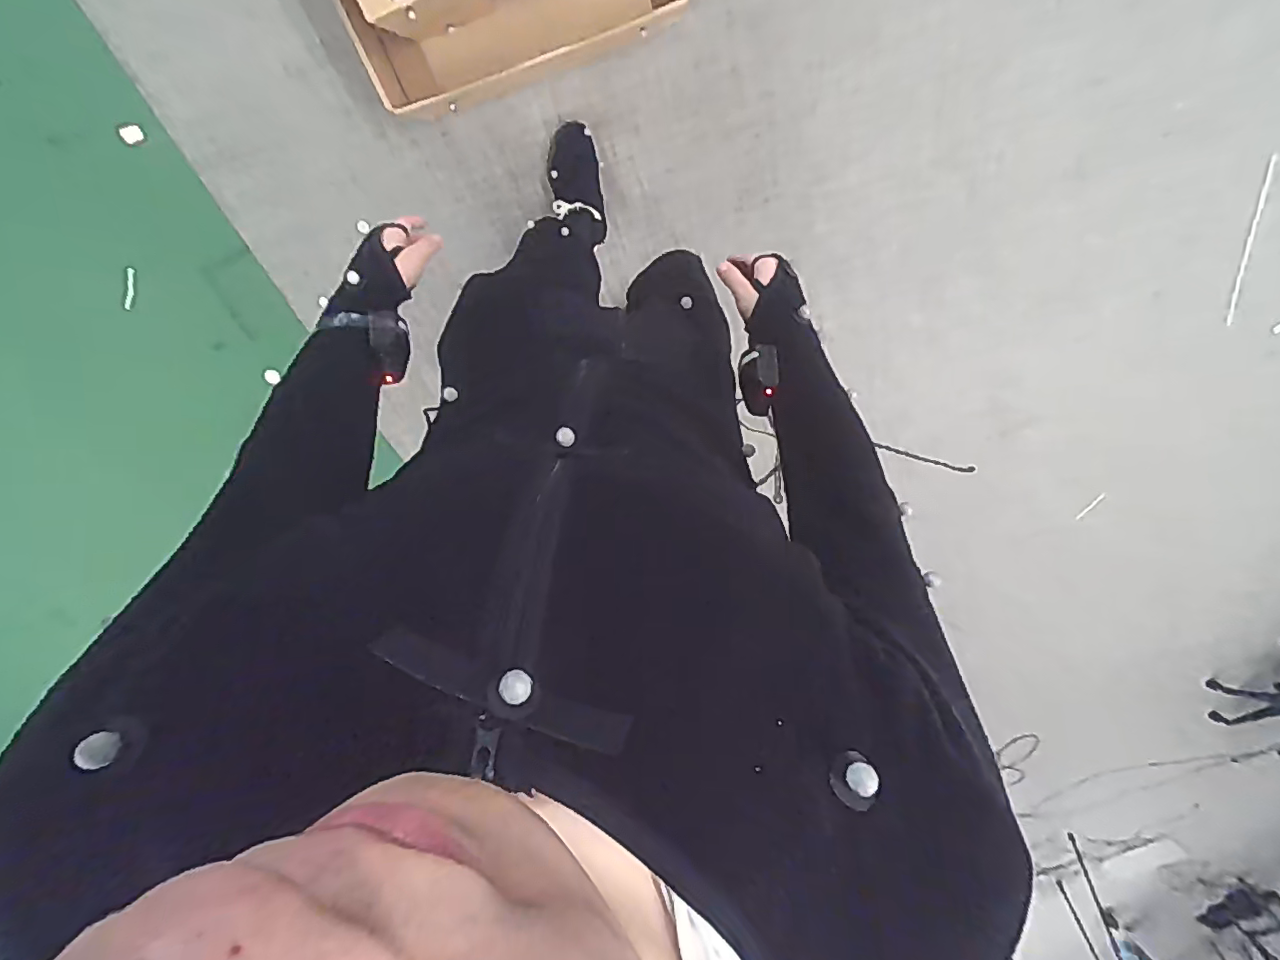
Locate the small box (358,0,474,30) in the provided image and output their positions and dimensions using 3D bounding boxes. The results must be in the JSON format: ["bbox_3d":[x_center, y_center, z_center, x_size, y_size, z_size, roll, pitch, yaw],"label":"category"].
[{"bbox_3d":[-0.373,-0.841,0.838,0.168,0.176,0.179,-17,124,7],"label":"small box"}]
